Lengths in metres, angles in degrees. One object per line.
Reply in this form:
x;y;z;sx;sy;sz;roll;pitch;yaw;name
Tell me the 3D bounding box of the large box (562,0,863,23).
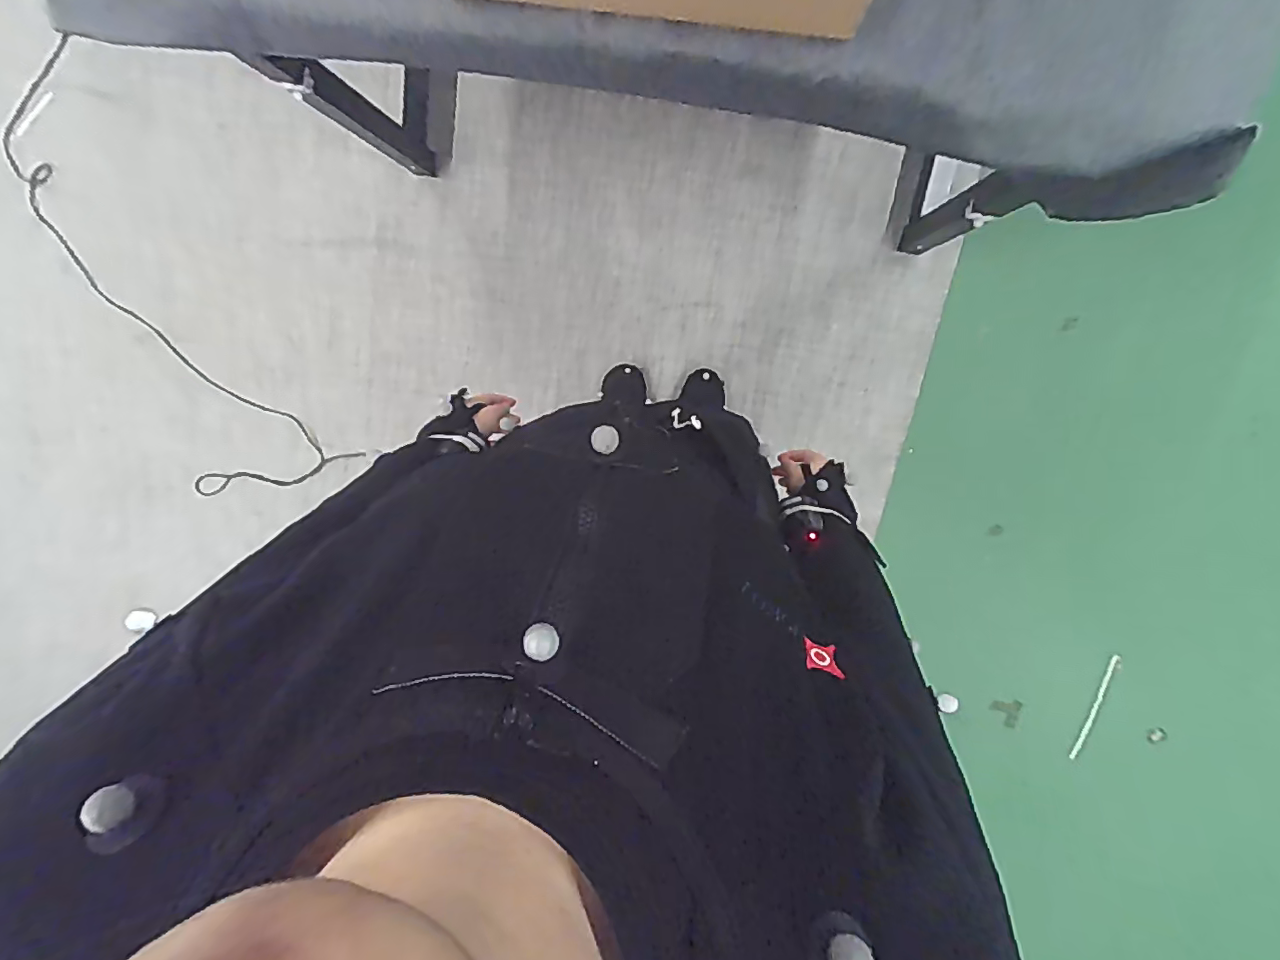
0.015;-0.575;0.350;0.408;0.320;0.320;8;102;2;large box
